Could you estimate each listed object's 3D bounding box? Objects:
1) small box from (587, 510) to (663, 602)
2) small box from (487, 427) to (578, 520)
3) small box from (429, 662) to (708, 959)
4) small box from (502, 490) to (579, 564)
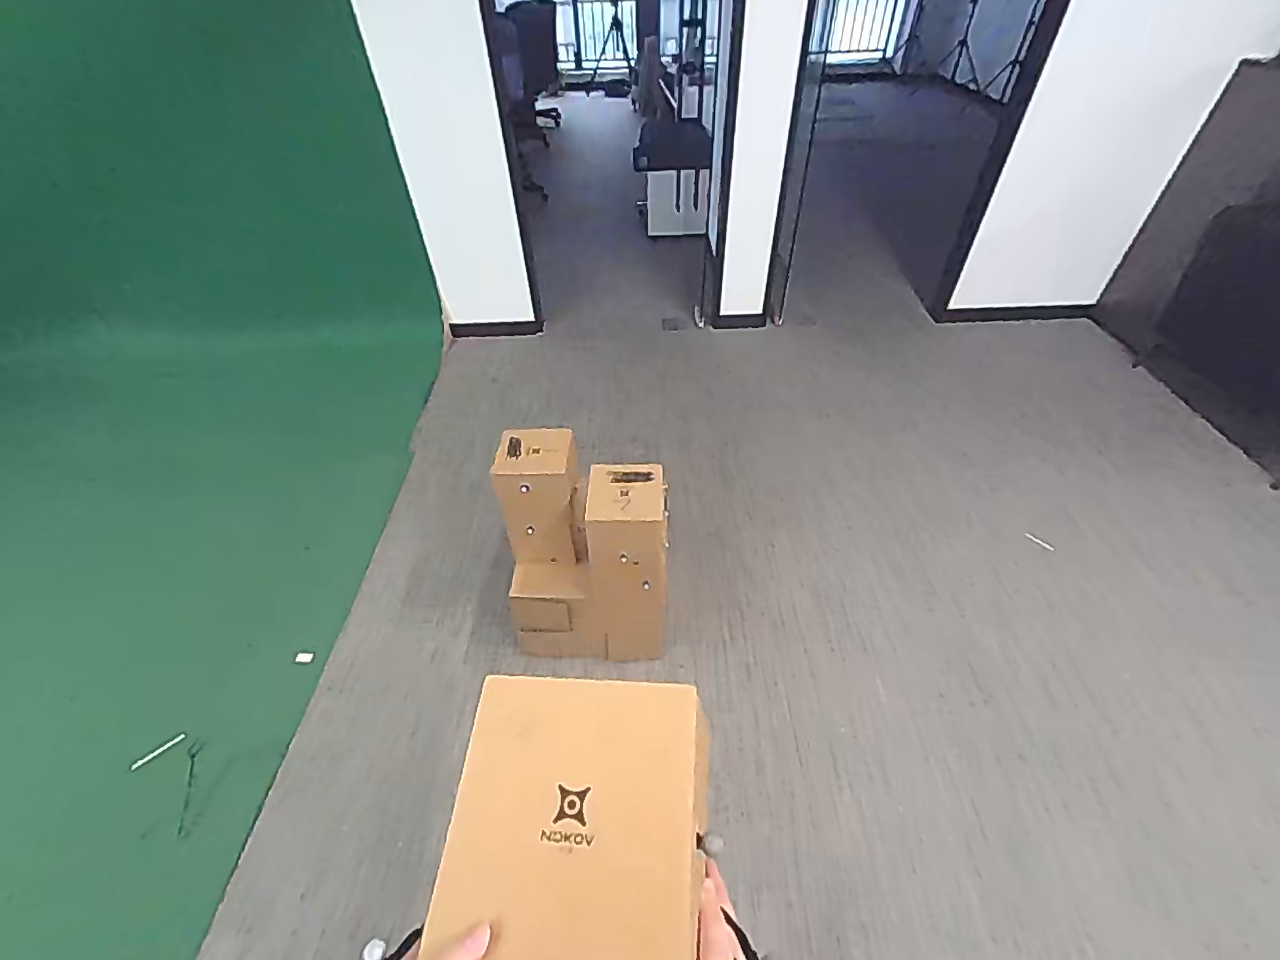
[{"bbox_3d":[-0.034,0.191,1.354,0.179,0.176,0.168,-1,43,1],"label":"small box"},{"bbox_3d":[-0.257,-0.014,1.335,0.179,0.176,0.168,-1,44,2],"label":"small box"},{"bbox_3d":[-0.033,0.260,0.429,0.168,0.176,0.179,-1,56,9],"label":"small box"},{"bbox_3d":[-0.258,0.103,1.452,0.168,0.176,0.179,0,43,2],"label":"small box"}]
